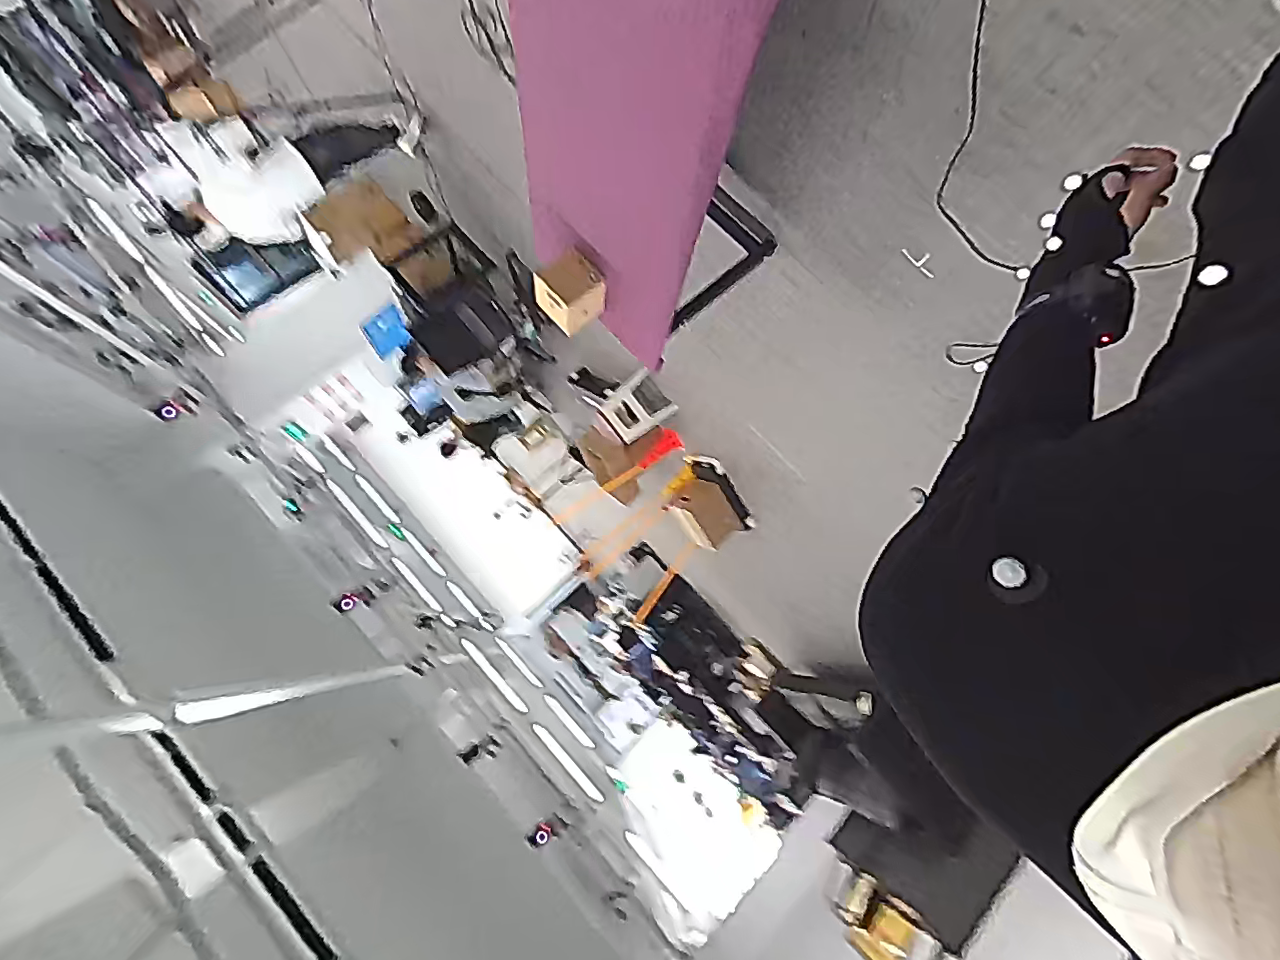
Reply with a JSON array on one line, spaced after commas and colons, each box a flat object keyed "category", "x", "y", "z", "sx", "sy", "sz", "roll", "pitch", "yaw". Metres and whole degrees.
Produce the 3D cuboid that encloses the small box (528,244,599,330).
[{"category": "small box", "x": -0.253, "y": -0.650, "z": 1.813, "sx": 0.168, "sy": 0.176, "sz": 0.179, "roll": 47, "pitch": 165, "yaw": 6}]
